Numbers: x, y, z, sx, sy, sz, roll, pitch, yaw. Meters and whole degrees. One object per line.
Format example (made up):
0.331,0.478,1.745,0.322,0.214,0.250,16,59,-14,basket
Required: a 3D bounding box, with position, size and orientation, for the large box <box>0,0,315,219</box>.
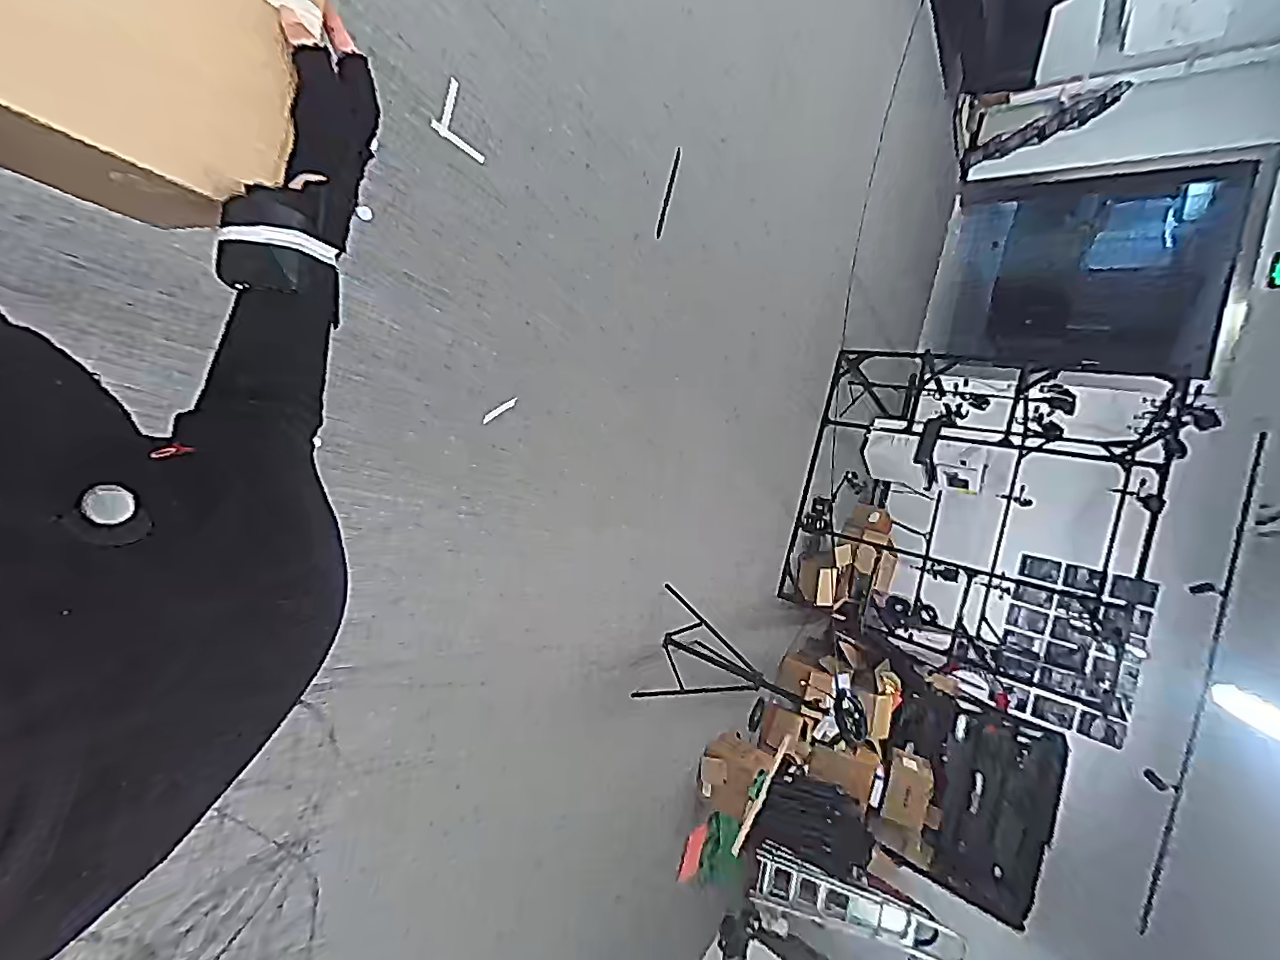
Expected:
-0.494,-0.419,0.353,0.408,0.320,0.320,12,96,-56,large box
